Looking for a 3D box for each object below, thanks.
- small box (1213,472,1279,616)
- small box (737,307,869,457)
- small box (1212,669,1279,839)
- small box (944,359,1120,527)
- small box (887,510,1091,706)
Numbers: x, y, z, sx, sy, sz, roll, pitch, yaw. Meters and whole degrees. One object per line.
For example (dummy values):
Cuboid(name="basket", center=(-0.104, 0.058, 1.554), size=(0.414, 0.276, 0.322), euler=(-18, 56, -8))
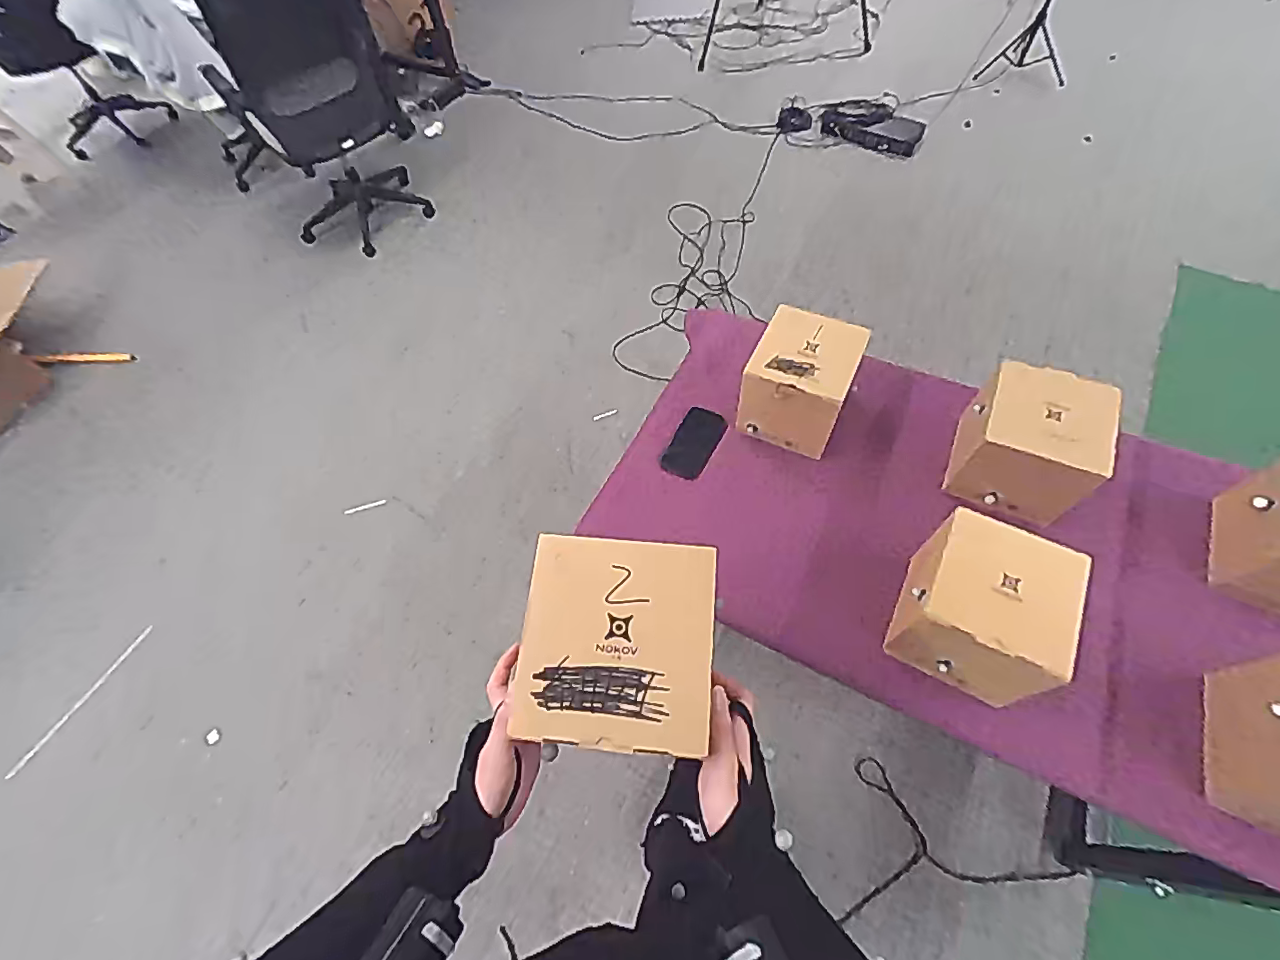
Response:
Cuboid(name="small box", center=(0.956, 0.088, 0.747), size=(0.168, 0.176, 0.179), euler=(24, 63, 19))
Cuboid(name="small box", center=(0.280, -0.168, 0.958), size=(0.168, 0.176, 0.179), euler=(22, 63, 17))
Cuboid(name="small box", center=(0.808, 0.325, 0.611), size=(0.168, 0.176, 0.179), euler=(21, 63, 18))
Cuboid(name="small box", center=(0.615, -0.055, 0.864), size=(0.168, 0.176, 0.179), euler=(22, 64, 18))
Cuboid(name="small box", center=(0.461, 0.177, 0.734), size=(0.168, 0.176, 0.179), euler=(24, 63, 18))
